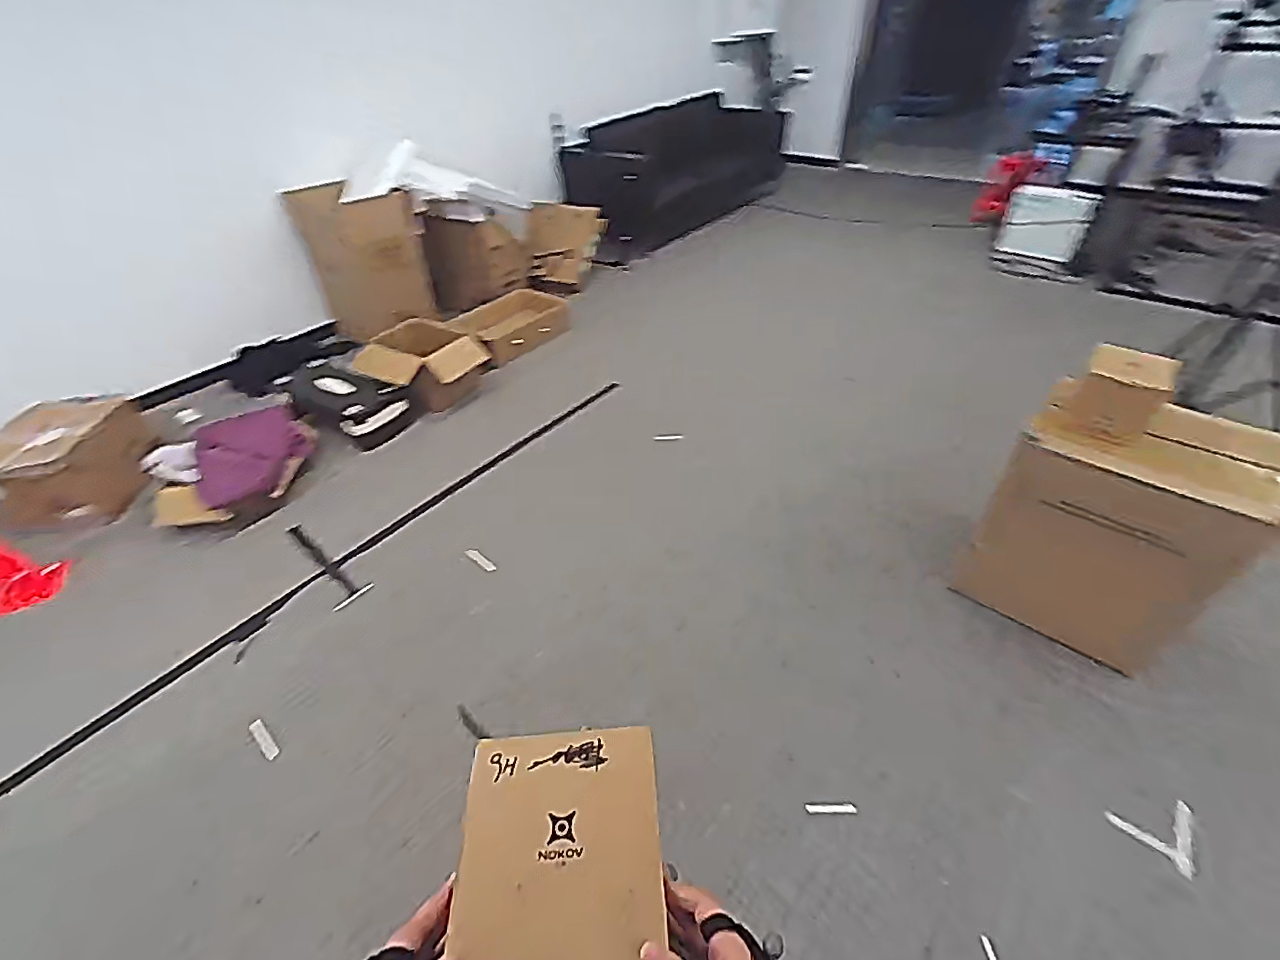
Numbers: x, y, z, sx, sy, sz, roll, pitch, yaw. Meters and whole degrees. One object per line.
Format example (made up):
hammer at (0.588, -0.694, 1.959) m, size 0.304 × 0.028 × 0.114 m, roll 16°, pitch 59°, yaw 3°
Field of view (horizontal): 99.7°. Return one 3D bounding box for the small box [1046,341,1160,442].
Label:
small box at (1.195, -0.230, 1.404) m, size 0.168 × 0.176 × 0.179 m, roll 26°, pitch 51°, yaw 30°
